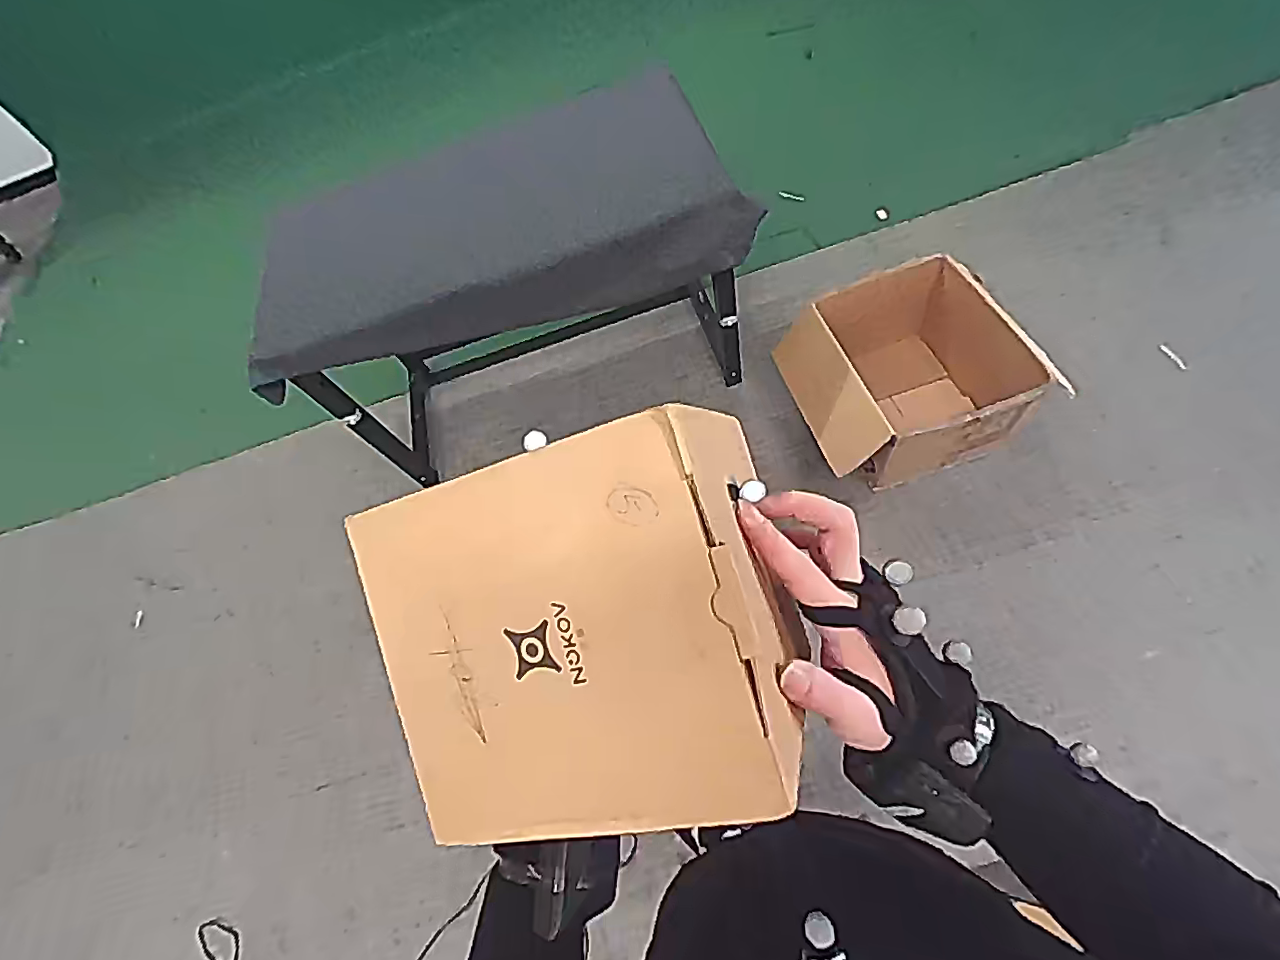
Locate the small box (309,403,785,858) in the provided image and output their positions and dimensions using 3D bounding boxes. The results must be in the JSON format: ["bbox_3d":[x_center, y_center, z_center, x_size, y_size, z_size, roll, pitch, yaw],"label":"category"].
[{"bbox_3d":[-0.027,0.065,0.296,0.179,0.176,0.168,-18,87,21],"label":"small box"}]
